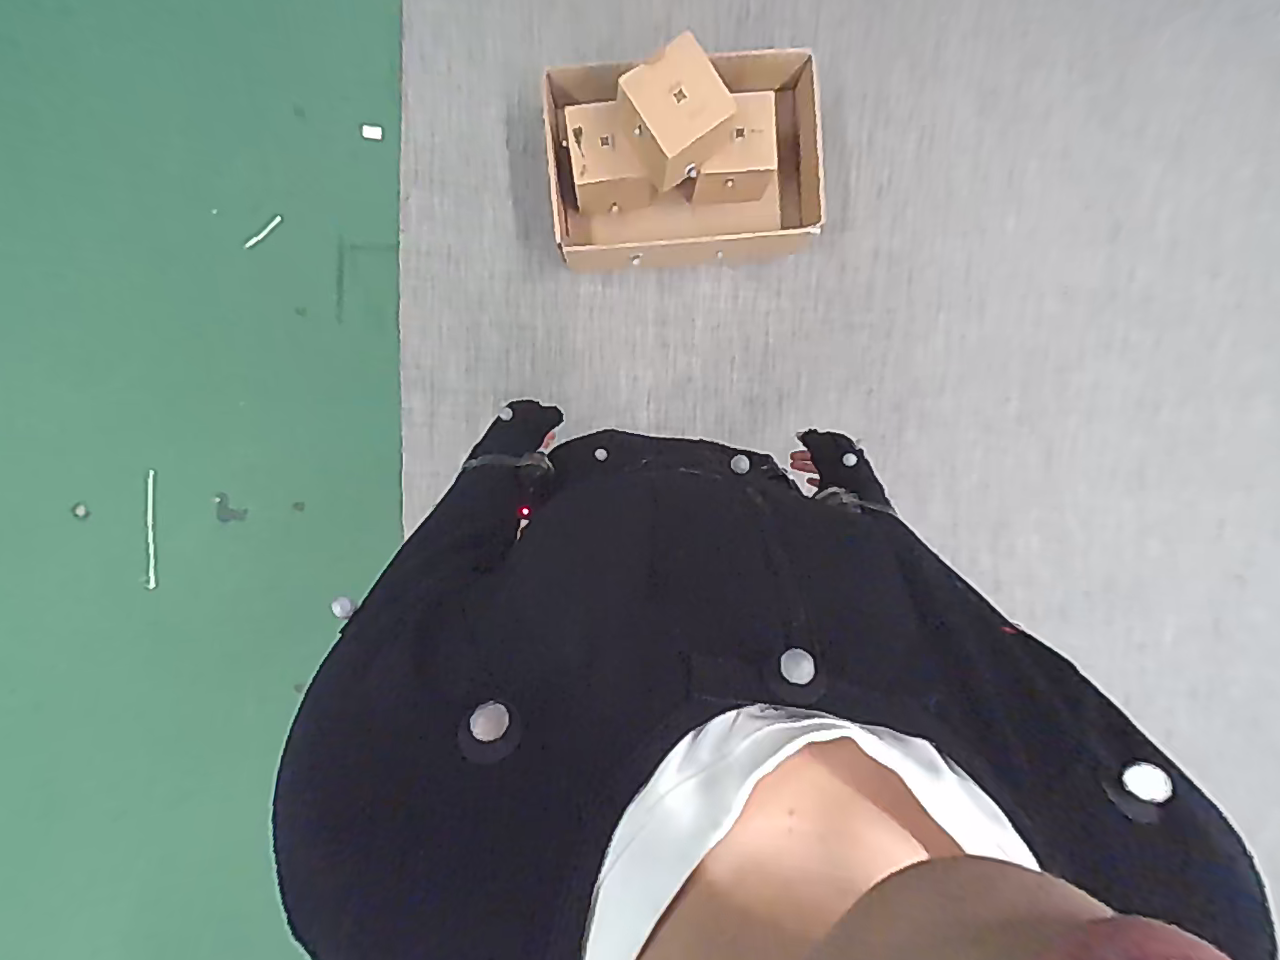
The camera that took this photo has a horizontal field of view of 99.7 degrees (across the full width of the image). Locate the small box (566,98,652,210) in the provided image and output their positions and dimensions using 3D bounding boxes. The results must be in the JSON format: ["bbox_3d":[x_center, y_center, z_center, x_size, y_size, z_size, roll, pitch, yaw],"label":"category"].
[{"bbox_3d":[-0.074,-0.752,1.260,0.179,0.176,0.168,-8,95,-3],"label":"small box"}]

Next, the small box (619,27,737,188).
[{"bbox_3d":[0.068,-0.745,1.104,0.168,0.176,0.179,-35,97,2],"label":"small box"}]

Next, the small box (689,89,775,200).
[{"bbox_3d":[0.207,-0.776,1.266,0.179,0.176,0.168,-4,96,-1],"label":"small box"}]
